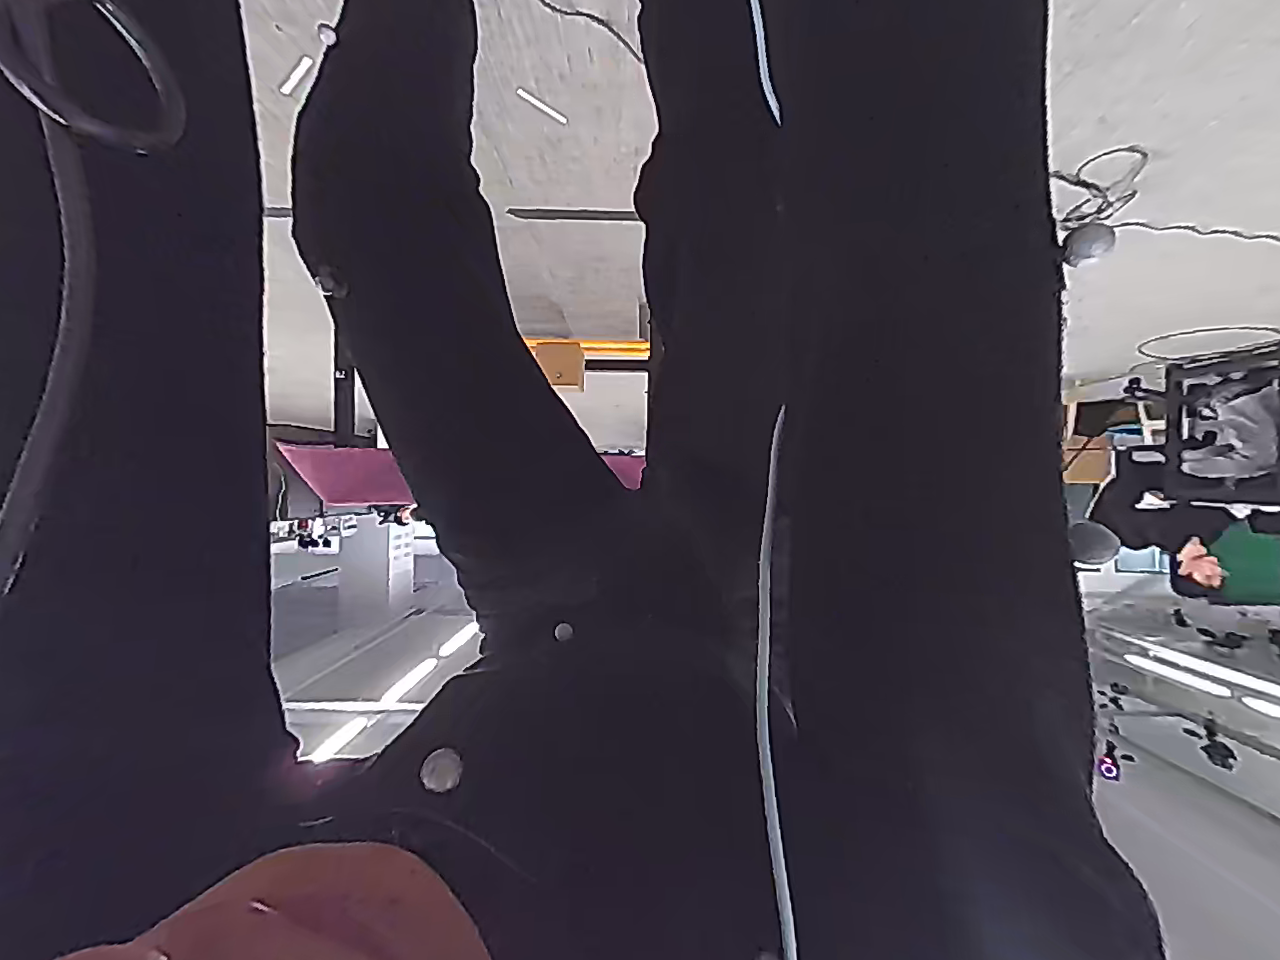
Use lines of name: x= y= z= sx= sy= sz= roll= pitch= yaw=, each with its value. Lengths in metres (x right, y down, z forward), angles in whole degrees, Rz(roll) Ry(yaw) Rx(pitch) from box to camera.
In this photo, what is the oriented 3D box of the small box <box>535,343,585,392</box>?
small box: x=-0.322 y=-0.456 z=2.193 sx=0.179 sy=0.176 sz=0.168 roll=1 pitch=180 yaw=2
